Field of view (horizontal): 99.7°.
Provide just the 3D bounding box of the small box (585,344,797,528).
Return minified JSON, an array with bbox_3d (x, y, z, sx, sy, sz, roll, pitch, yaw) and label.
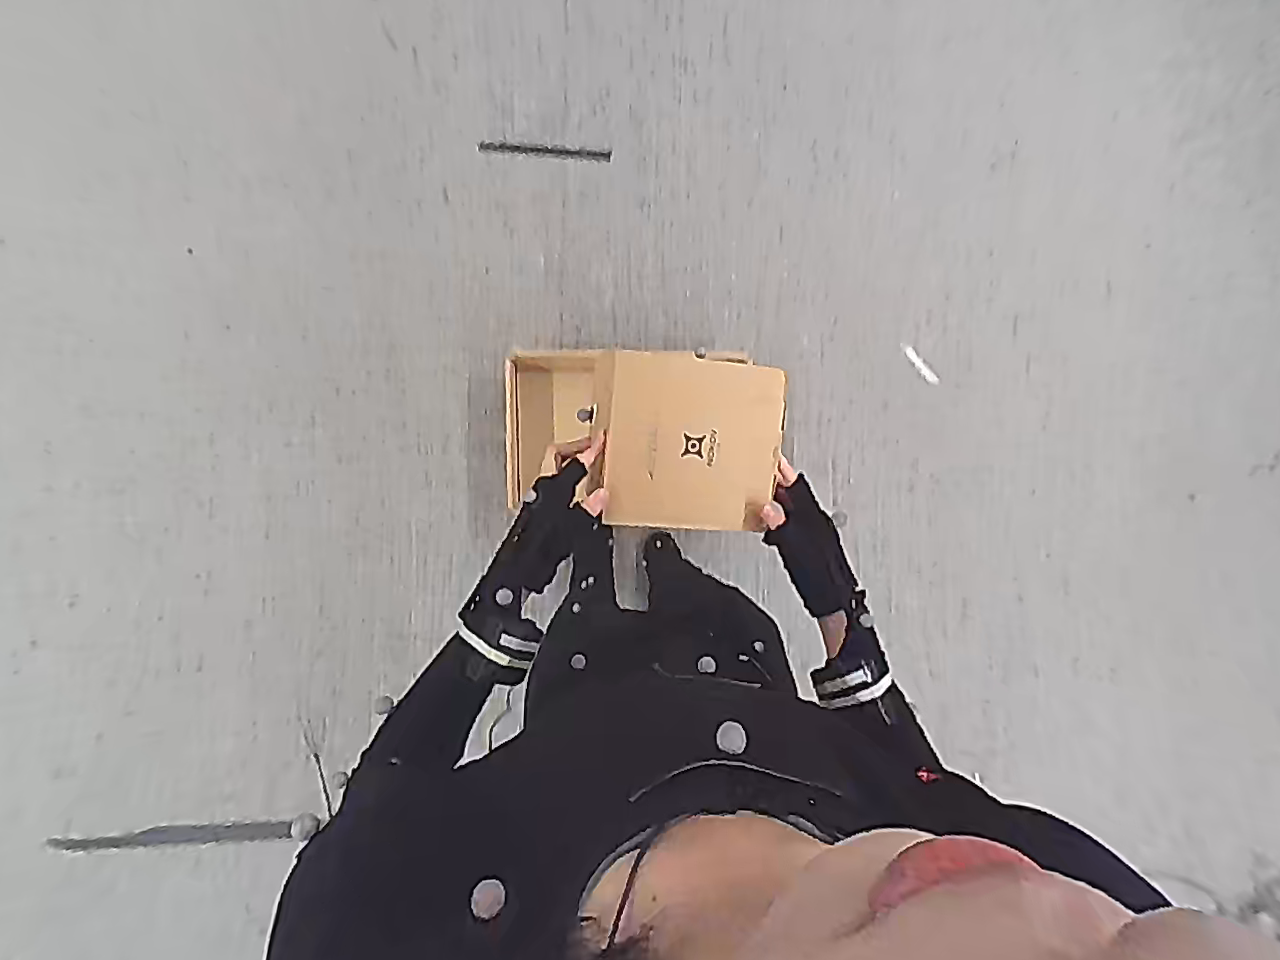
[{"bbox_3d":[0.042,-0.050,0.585,0.179,0.176,0.168,3,99,-12],"label":"small box"}]
